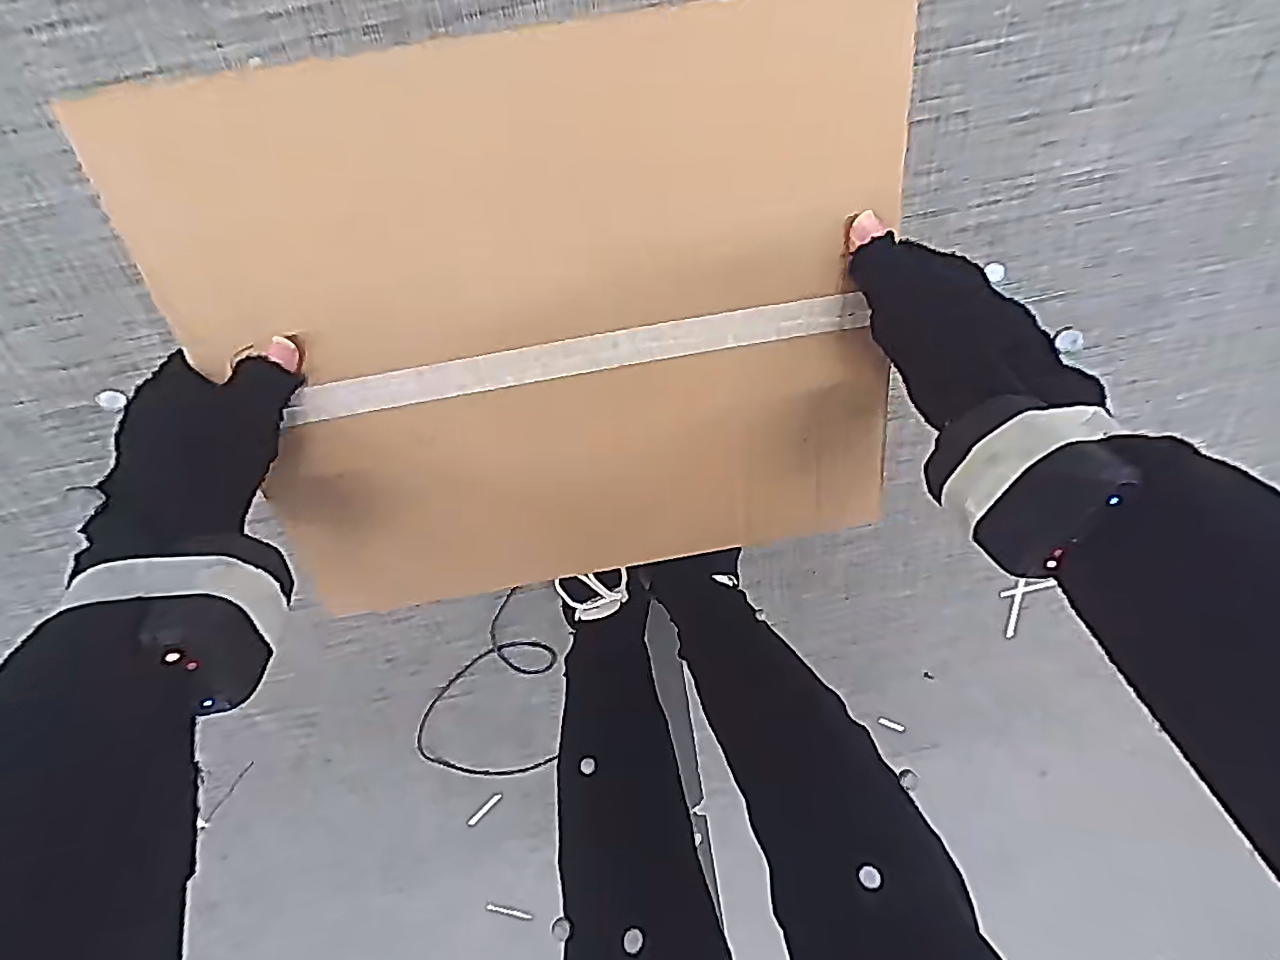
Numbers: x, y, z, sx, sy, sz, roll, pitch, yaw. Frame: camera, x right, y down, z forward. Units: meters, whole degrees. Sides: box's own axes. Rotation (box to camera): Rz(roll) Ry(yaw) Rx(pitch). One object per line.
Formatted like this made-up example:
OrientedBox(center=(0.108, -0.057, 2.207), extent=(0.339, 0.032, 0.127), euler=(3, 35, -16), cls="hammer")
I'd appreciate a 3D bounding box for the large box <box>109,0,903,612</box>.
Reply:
OrientedBox(center=(-0.059, -0.137, 0.463), extent=(0.408, 0.320, 0.320), euler=(-10, 118, -2), cls="large box")
